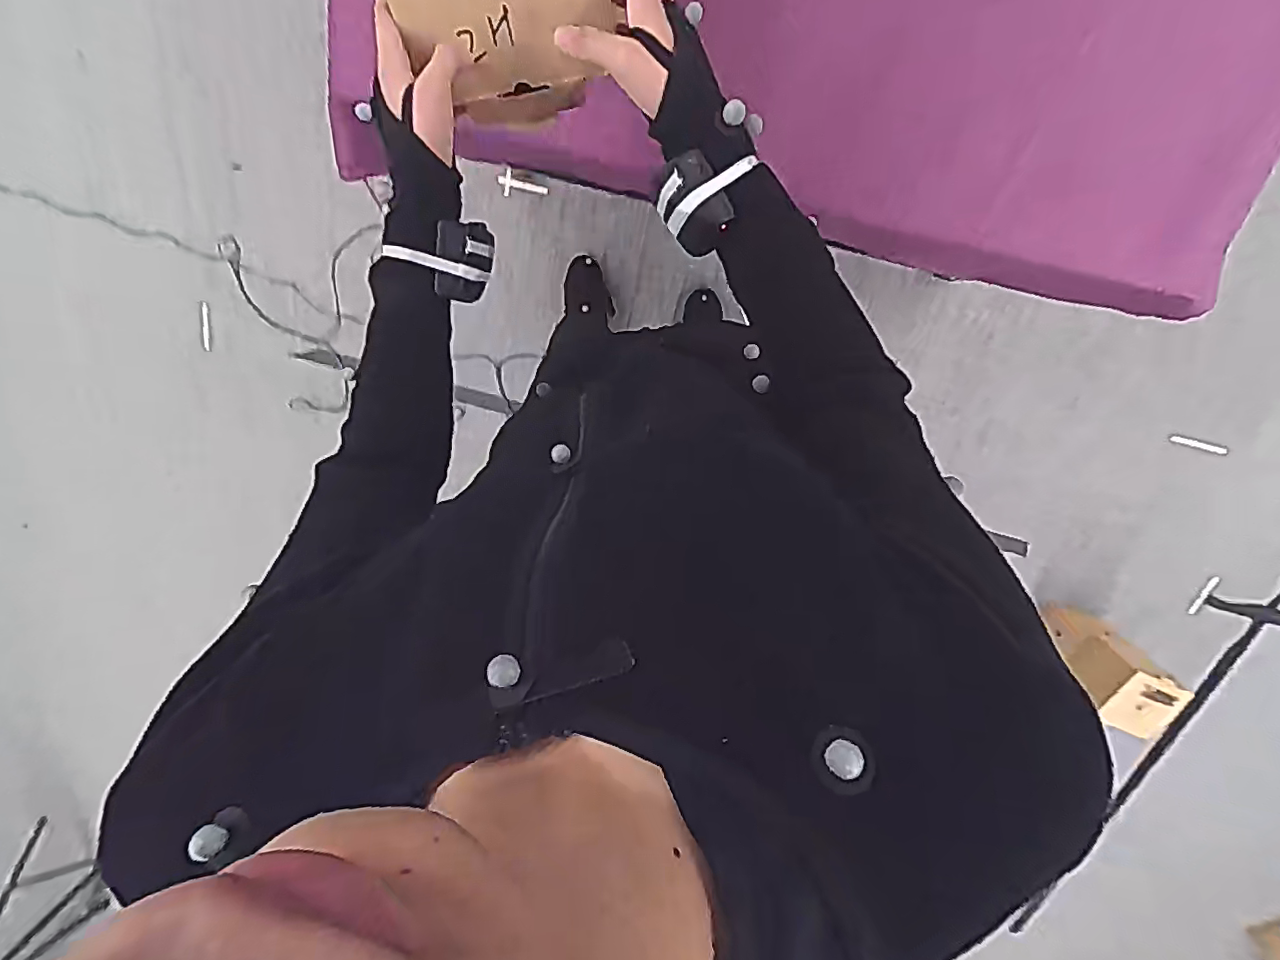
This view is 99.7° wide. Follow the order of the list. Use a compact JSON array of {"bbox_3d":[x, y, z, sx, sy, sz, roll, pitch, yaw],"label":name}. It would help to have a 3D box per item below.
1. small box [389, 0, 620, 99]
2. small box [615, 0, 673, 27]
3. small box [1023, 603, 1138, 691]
[{"bbox_3d":[-0.111,-0.439,0.433,0.168,0.176,0.179,-6,137,5],"label":"small box"},{"bbox_3d":[-0.051,-0.622,0.582,0.179,0.176,0.168,4,111,4],"label":"small box"},{"bbox_3d":[1.318,0.497,1.636,0.179,0.176,0.168,18,112,-1],"label":"small box"}]
